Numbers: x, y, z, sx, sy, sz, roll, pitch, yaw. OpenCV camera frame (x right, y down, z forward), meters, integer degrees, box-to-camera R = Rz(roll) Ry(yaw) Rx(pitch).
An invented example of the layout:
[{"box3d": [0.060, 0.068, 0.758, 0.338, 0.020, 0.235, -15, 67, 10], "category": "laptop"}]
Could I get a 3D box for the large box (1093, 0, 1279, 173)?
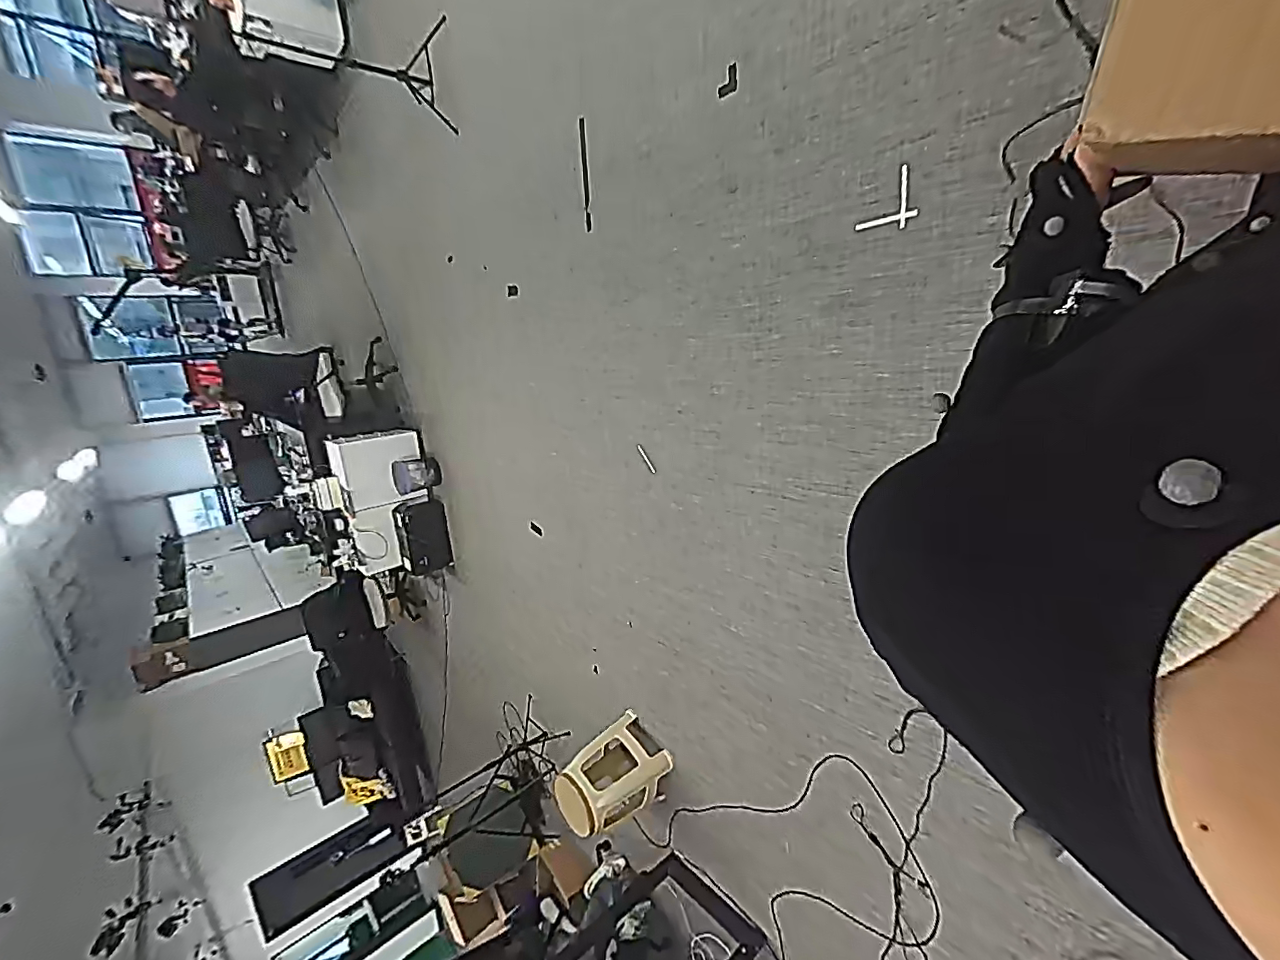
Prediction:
[{"box3d": [0.451, -0.295, 0.174, 0.408, 0.320, 0.320, 20, 123, 35], "category": "large box"}]
